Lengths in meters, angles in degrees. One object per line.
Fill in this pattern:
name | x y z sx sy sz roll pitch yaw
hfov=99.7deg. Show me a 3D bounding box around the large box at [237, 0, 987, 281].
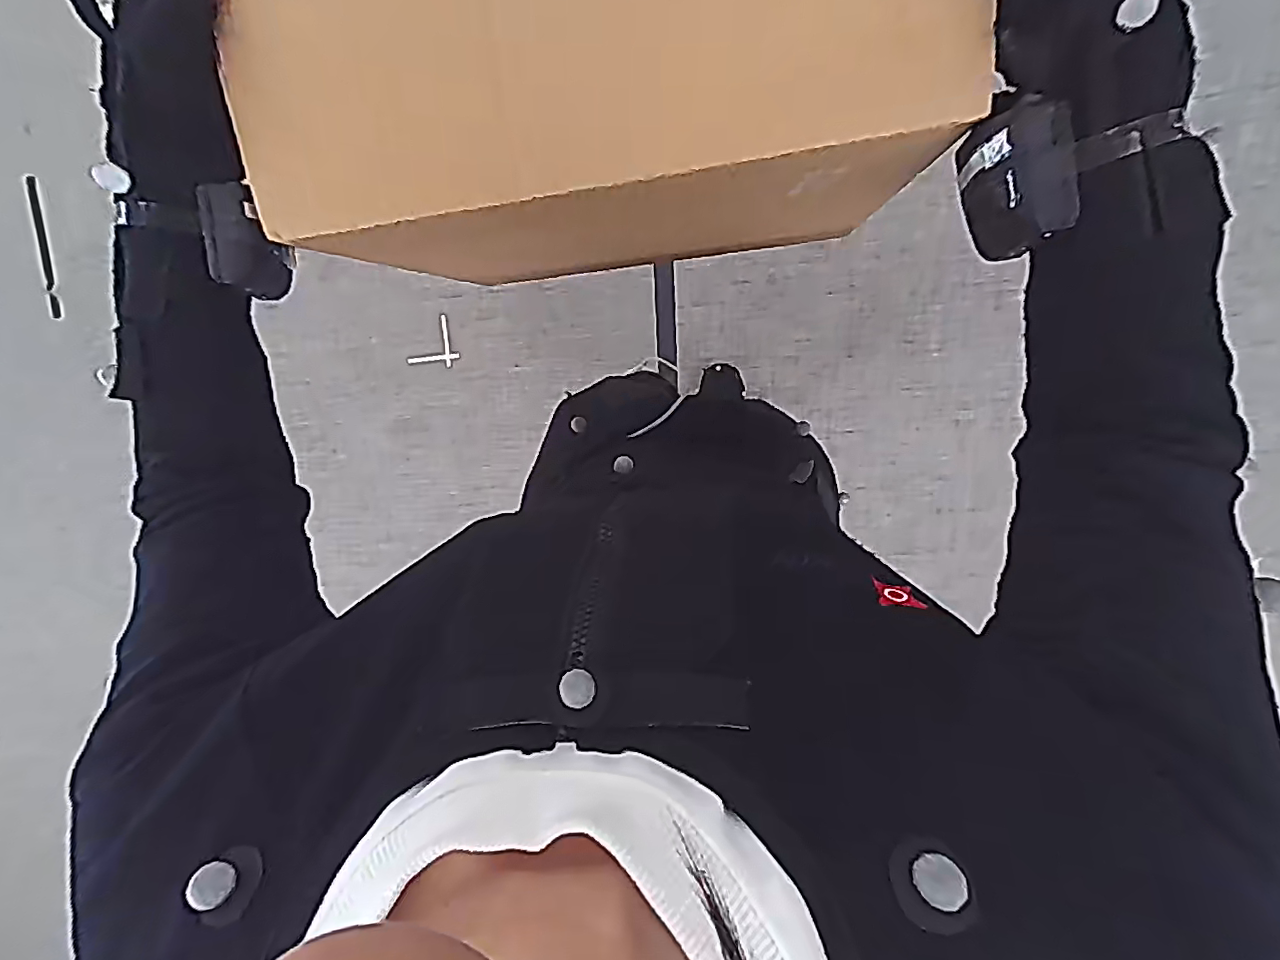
large box | -0.020 -0.358 0.415 0.408 0.320 0.320 -5 105 9
